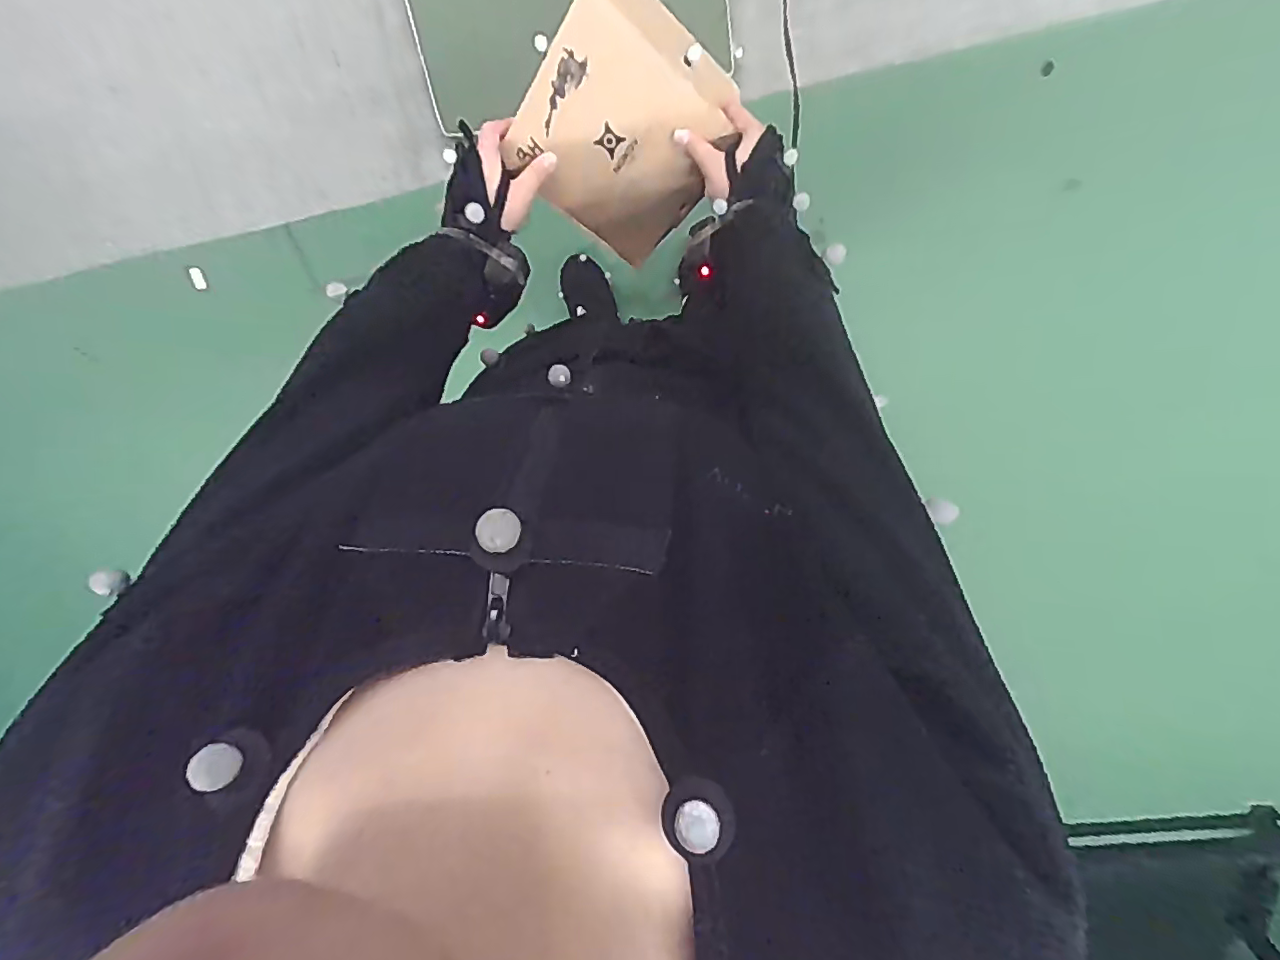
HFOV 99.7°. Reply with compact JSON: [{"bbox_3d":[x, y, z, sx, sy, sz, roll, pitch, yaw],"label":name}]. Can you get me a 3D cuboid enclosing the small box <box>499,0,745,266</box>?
[{"bbox_3d":[-0.013,-0.369,0.555,0.179,0.176,0.168,30,133,-25],"label":"small box"}]
